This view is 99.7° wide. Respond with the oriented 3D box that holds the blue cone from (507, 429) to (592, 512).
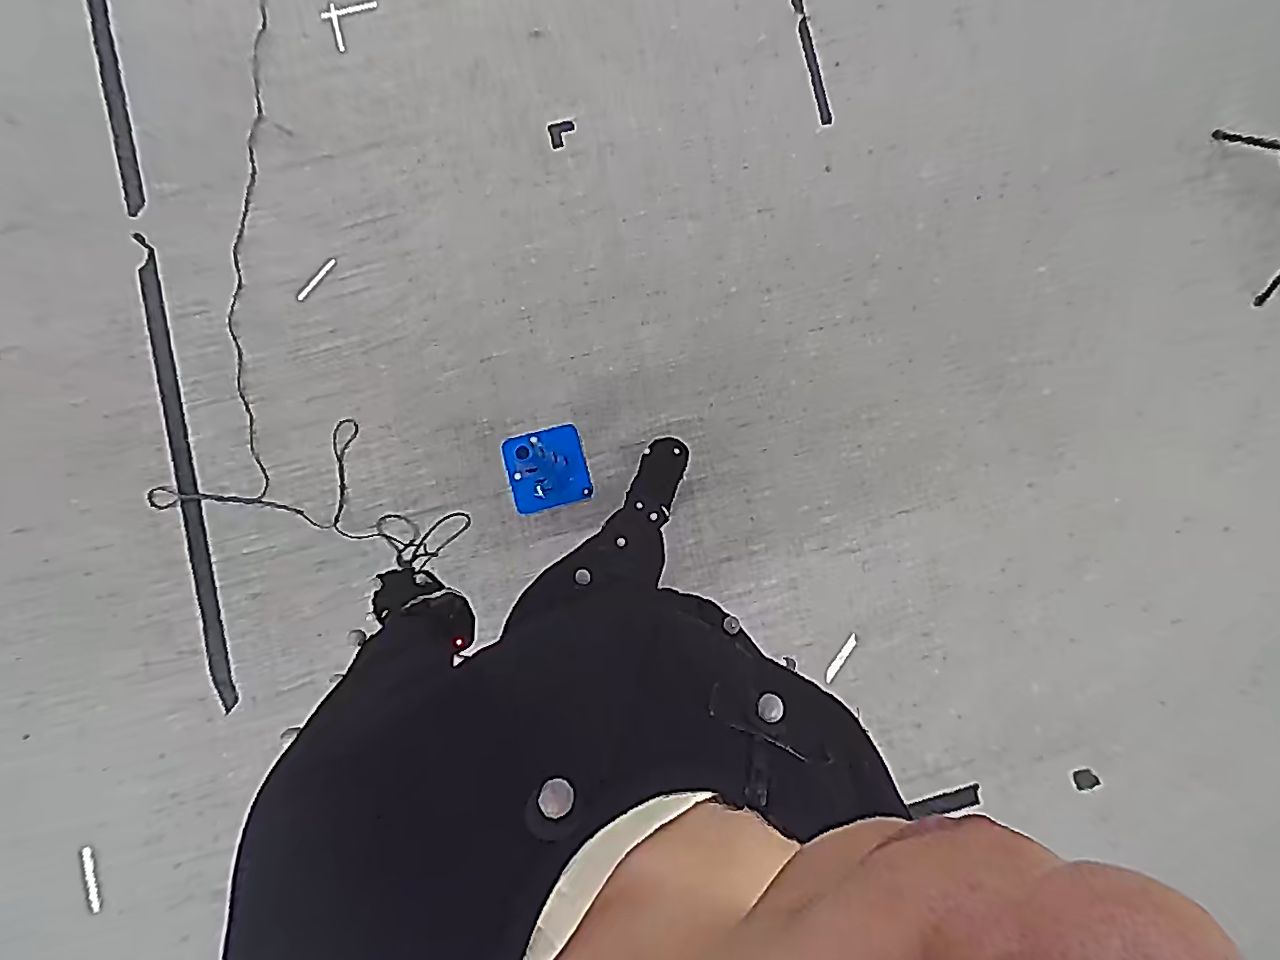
[{"bbox_3d":[-0.223,-0.035,1.203,0.192,0.380,0.193,-13,86,-4],"label":"blue cone"}]
